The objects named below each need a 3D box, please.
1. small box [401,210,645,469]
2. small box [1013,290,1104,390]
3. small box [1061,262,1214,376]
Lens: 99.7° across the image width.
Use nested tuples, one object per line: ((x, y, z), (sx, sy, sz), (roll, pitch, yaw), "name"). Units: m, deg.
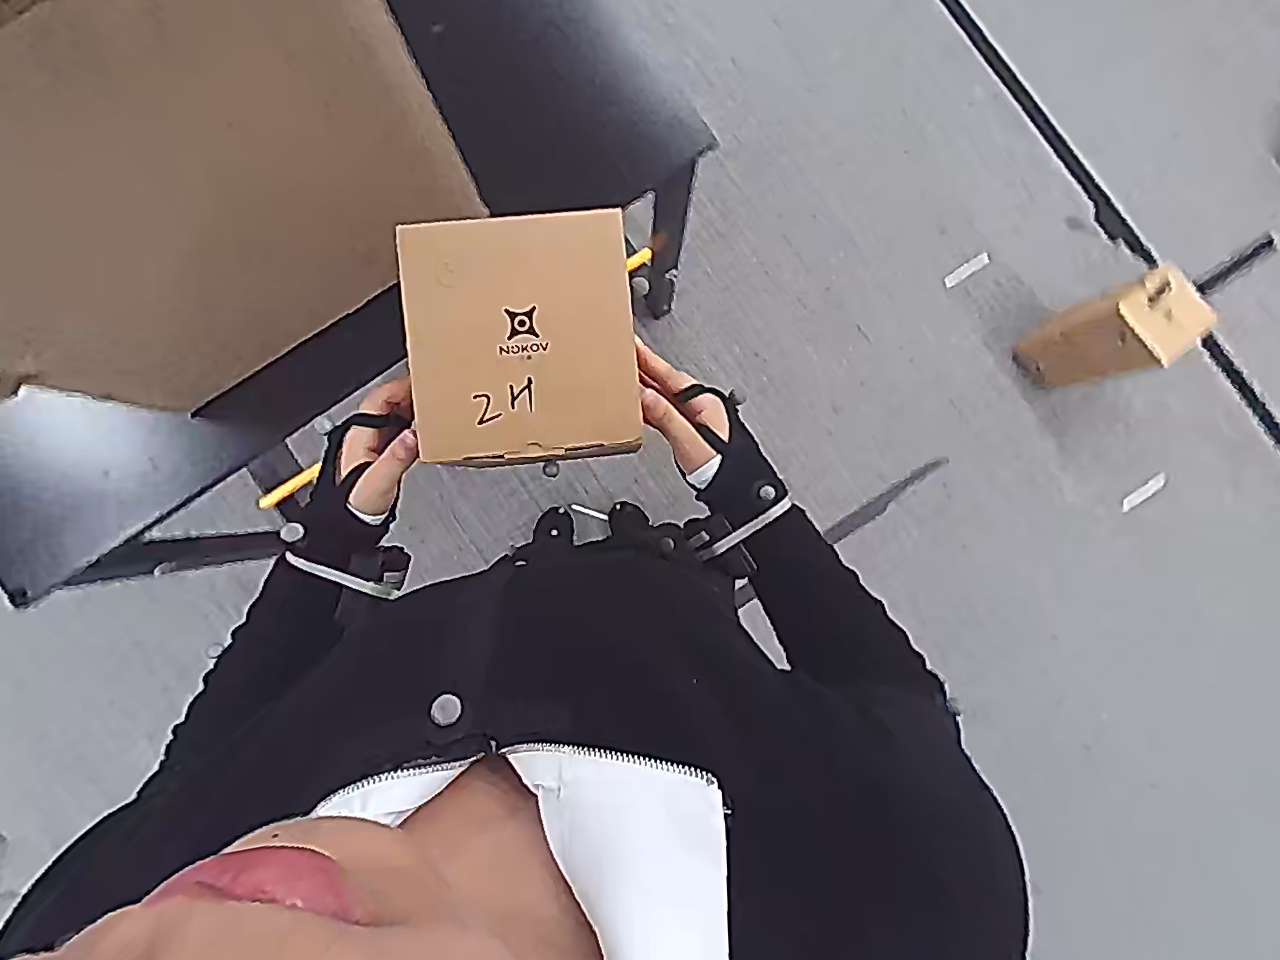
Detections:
((-0.087, -0.104, 0.468), (0.168, 0.176, 0.179), (-5, 90, -2), "small box")
((1.168, -0.370, 1.459), (0.179, 0.176, 0.168), (-41, 88, -1), "small box")
((1.175, -0.375, 1.294), (0.168, 0.176, 0.179), (-39, 89, -2), "small box")
